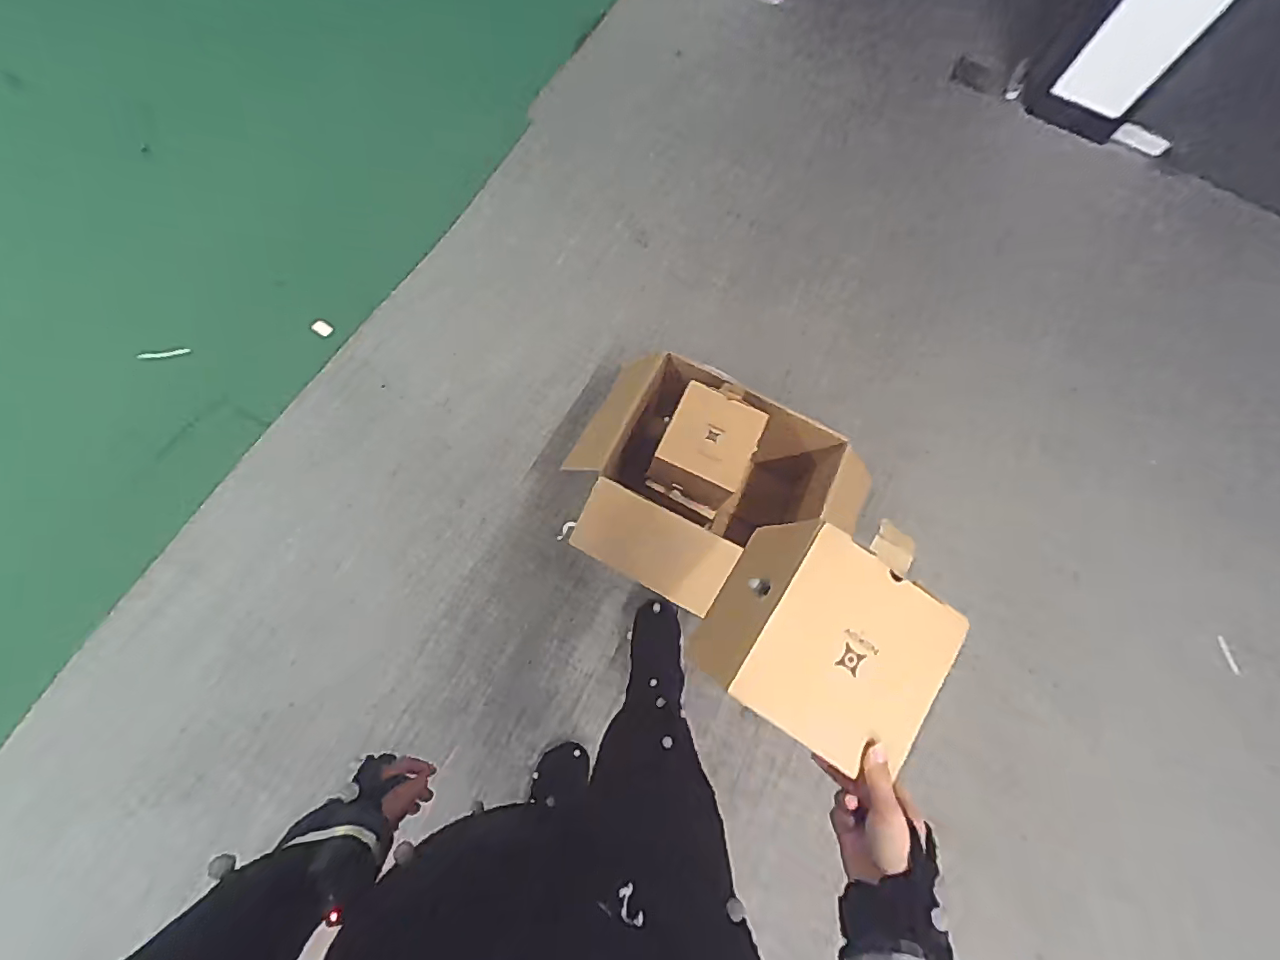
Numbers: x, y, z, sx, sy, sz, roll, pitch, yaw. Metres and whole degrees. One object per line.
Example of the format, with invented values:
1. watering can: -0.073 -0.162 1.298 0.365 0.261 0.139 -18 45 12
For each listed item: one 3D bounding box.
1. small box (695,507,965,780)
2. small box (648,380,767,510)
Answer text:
1. small box: 0.171 0.151 0.546 0.168 0.176 0.179 34 77 -2
2. small box: 0.126 -0.062 1.081 0.168 0.176 0.179 26 74 2
